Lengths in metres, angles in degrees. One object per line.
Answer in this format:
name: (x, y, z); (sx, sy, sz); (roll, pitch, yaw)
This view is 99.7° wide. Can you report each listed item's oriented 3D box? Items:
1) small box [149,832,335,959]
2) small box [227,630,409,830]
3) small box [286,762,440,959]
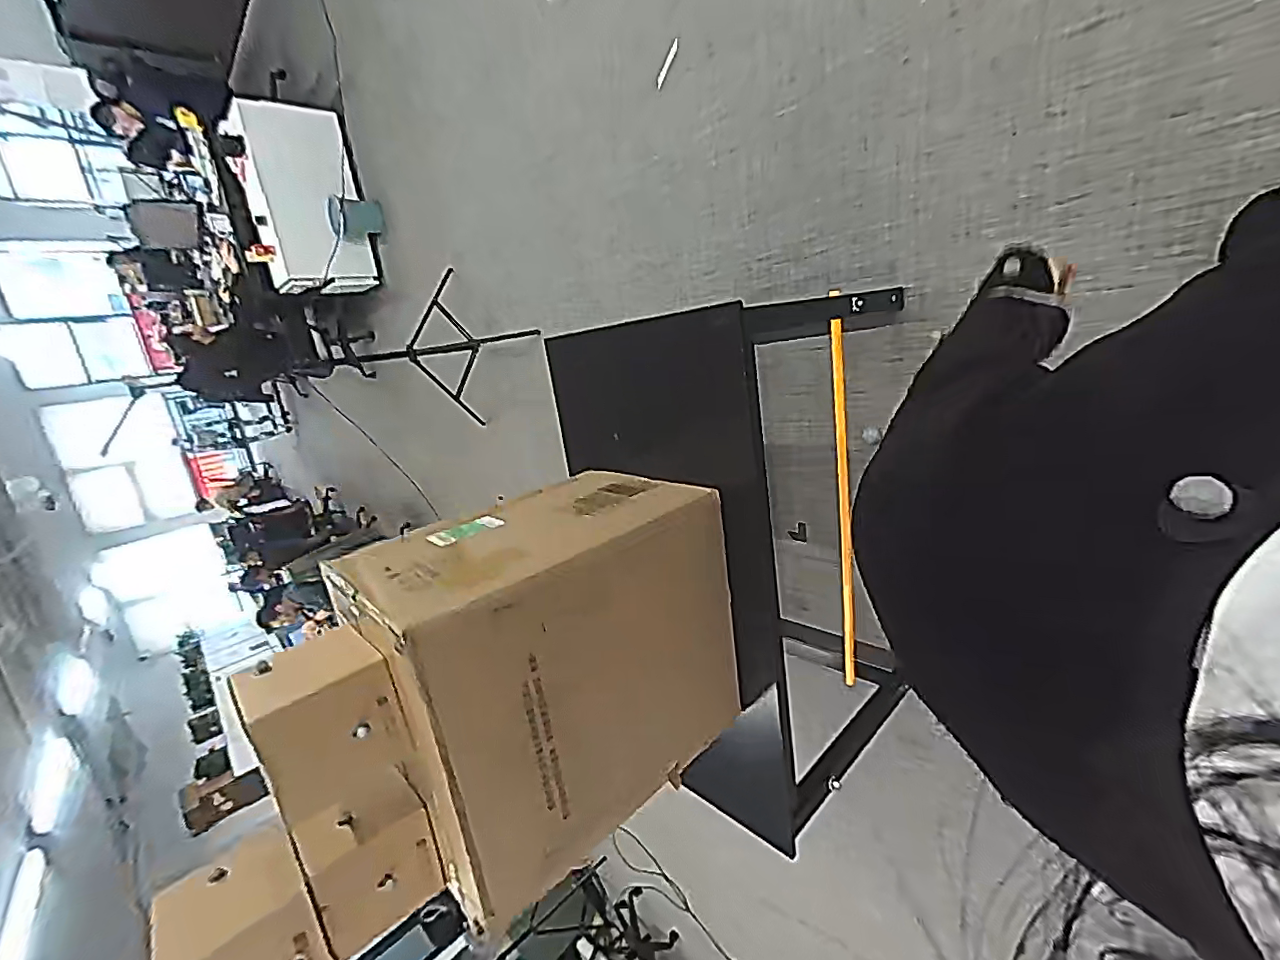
small box: (-0.550, 0.642, 0.757); (0.179, 0.176, 0.168); (5, 110, 48)
small box: (-0.458, 0.339, 0.777); (0.179, 0.176, 0.168); (8, 113, 47)
small box: (-0.440, 0.597, 0.870); (0.179, 0.176, 0.168); (6, 109, 47)
